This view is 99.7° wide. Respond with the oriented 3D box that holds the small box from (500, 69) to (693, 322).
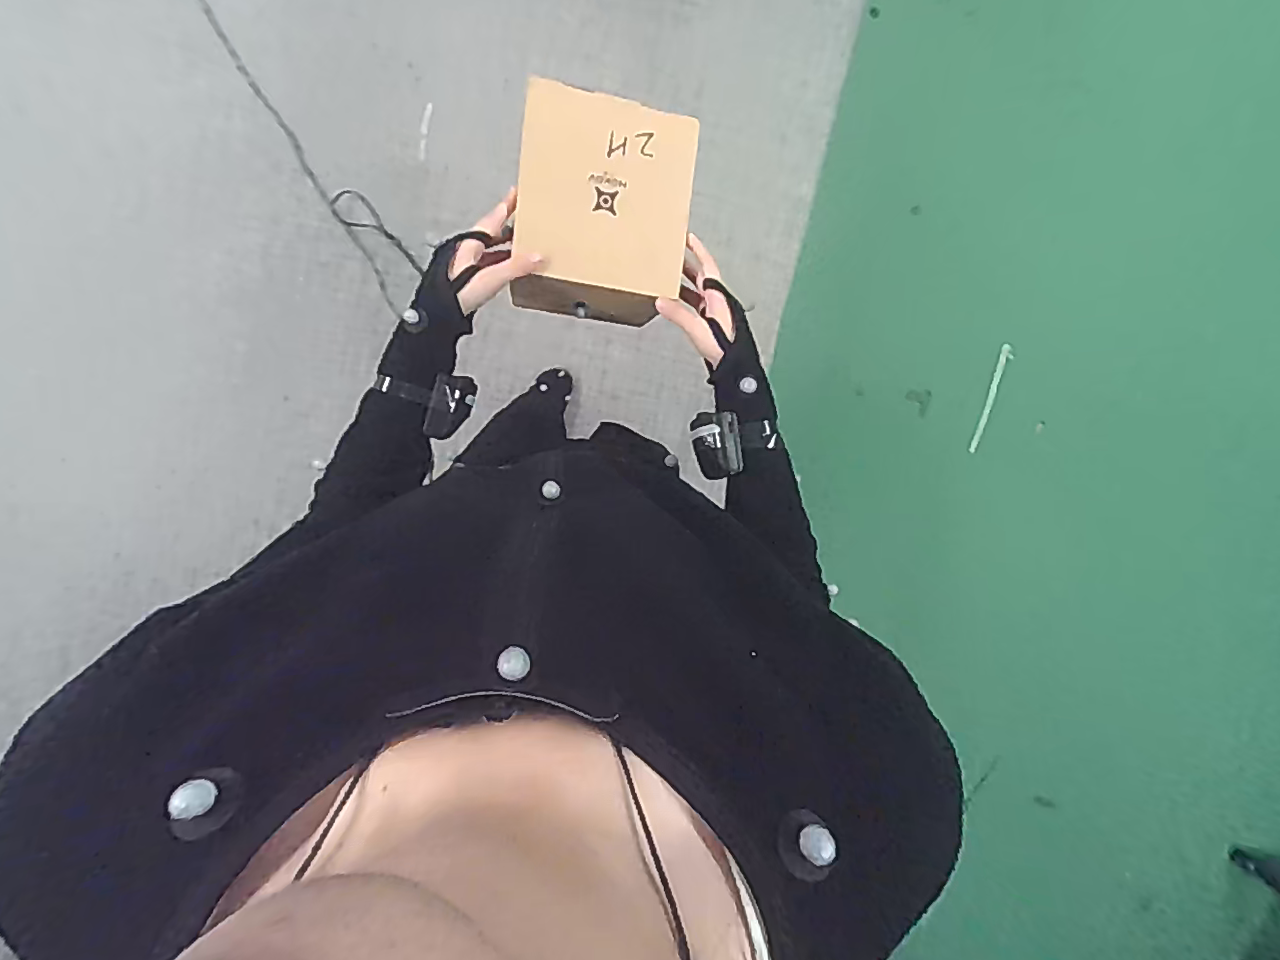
[{"bbox_3d":[-0.055,-0.279,0.580,0.168,0.176,0.179,6,93,-13],"label":"small box"}]
